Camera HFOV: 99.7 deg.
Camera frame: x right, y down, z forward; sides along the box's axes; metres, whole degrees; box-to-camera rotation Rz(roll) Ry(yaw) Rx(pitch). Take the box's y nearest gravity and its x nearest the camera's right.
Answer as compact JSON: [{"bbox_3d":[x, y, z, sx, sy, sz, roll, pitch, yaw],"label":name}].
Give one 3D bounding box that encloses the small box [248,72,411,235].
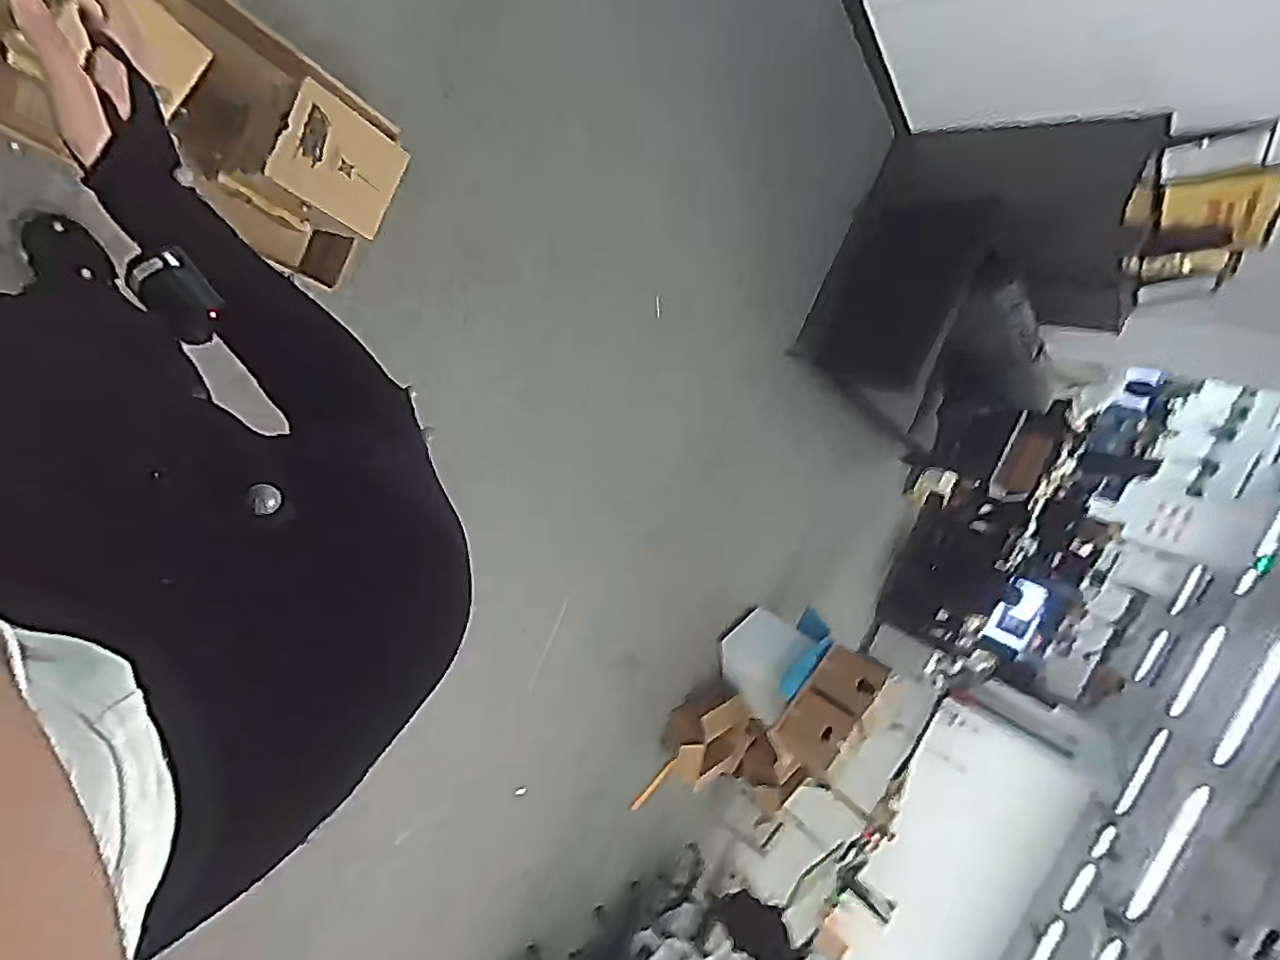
[{"bbox_3d":[-0.538,-0.548,0.931,0.179,0.176,0.168,24,93,-49],"label":"small box"}]
